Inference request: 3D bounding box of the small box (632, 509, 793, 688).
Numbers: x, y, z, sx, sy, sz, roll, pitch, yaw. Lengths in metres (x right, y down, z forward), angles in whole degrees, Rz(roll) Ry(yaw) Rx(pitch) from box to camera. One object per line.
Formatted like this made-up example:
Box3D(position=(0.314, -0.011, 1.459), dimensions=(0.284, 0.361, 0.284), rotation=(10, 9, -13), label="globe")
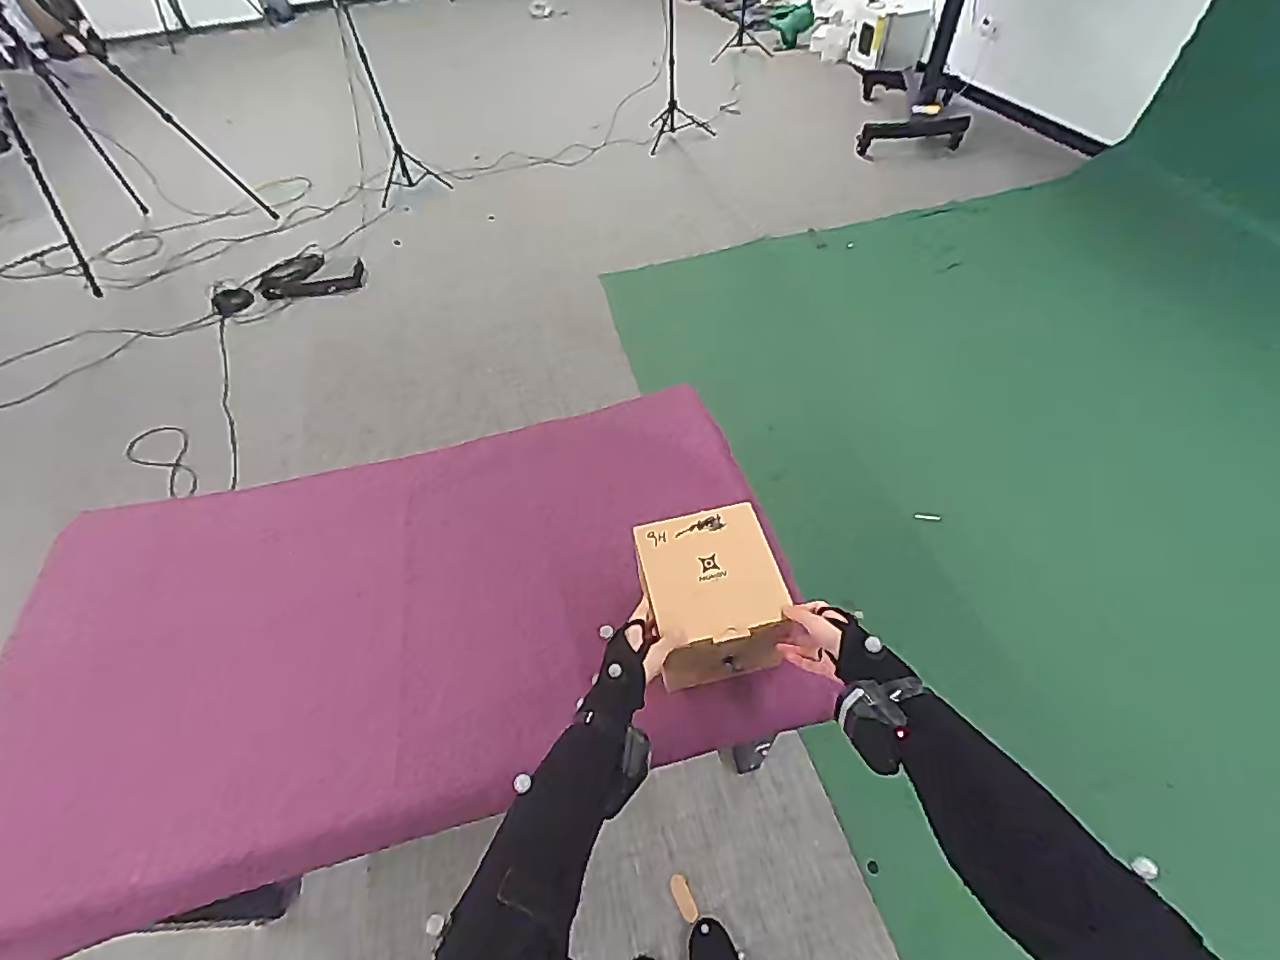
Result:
Box3D(position=(0.091, 0.168, 0.736), dimensions=(0.168, 0.176, 0.179), rotation=(-12, 54, -4), label="small box")
